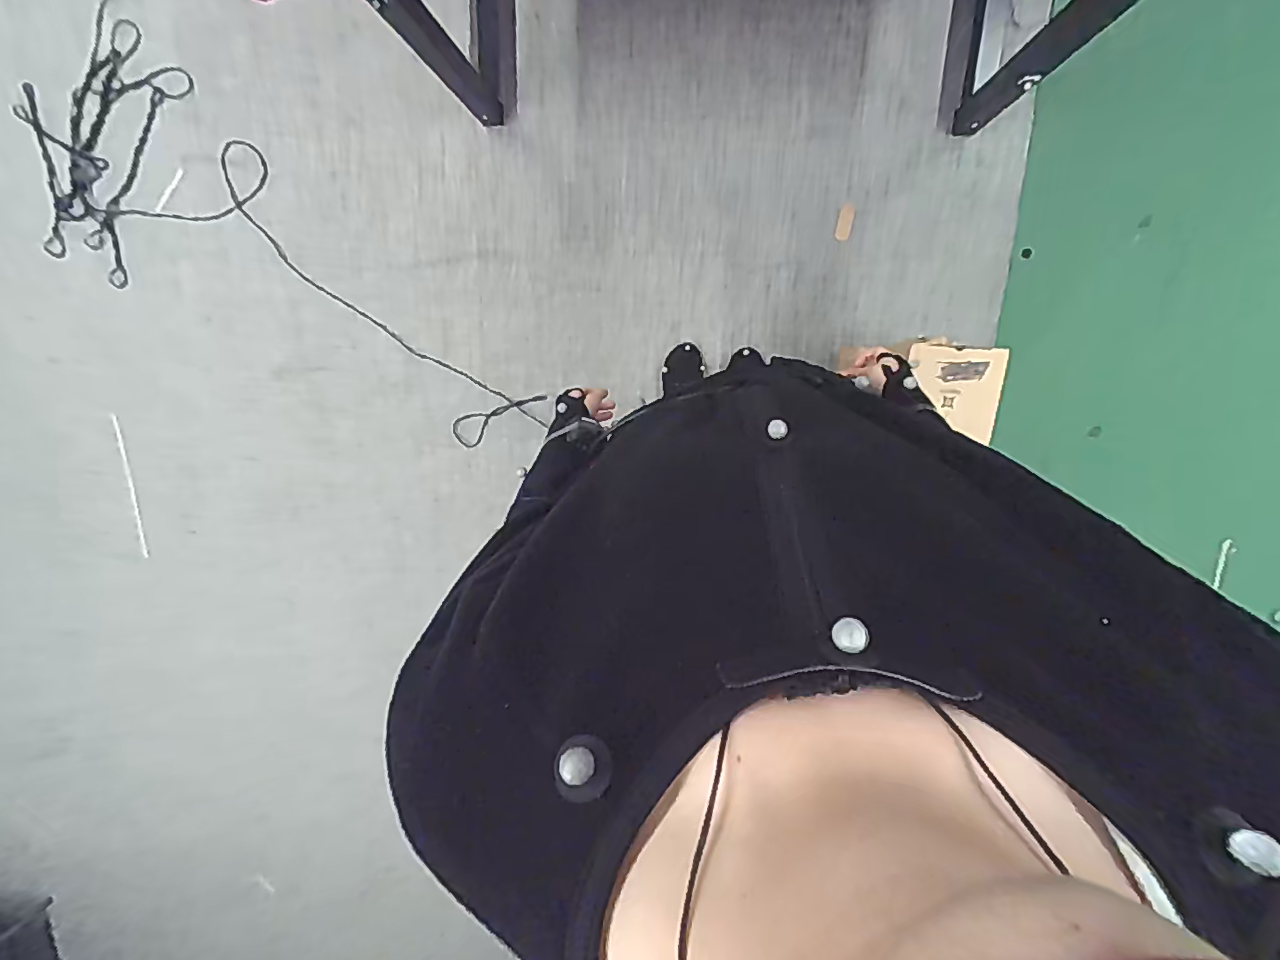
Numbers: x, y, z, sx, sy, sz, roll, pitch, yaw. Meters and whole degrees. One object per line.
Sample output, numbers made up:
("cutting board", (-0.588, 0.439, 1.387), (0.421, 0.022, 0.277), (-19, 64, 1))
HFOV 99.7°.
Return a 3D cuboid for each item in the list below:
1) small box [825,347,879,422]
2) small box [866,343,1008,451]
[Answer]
("small box", (0.575, -0.226, 1.335), (0.179, 0.176, 0.168), (14, 104, 3))
("small box", (0.542, -0.161, 1.015), (0.168, 0.176, 0.179), (5, 104, 4))
